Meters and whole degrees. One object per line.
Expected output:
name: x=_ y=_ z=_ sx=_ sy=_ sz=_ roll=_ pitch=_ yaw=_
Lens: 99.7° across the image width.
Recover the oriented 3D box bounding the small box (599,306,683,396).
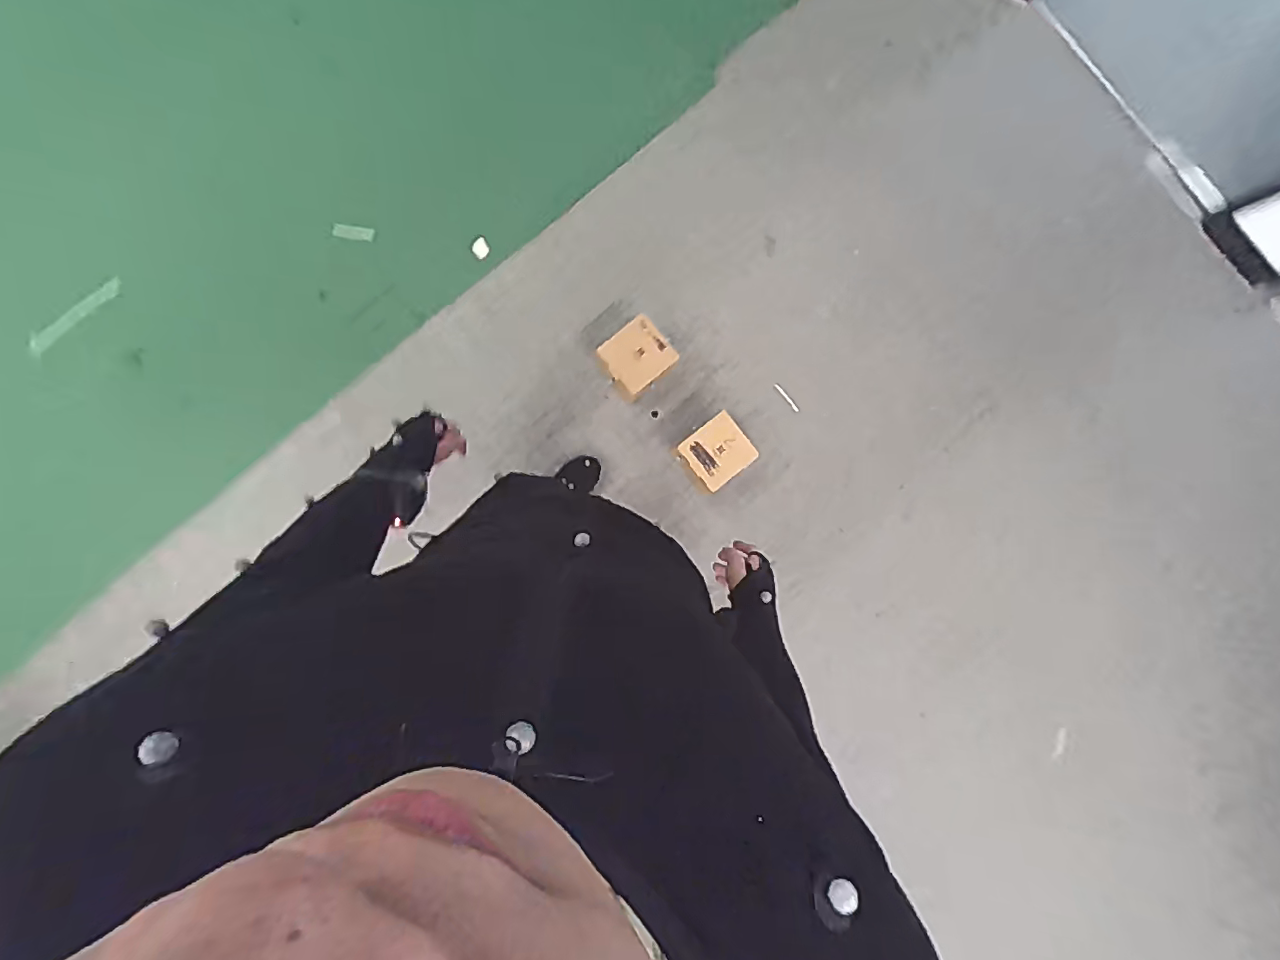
small box: x=0.002 y=-0.361 z=1.558 sx=0.179 sy=0.176 sz=0.168 roll=-39 pitch=92 yaw=-2

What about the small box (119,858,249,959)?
small box: x=-1.255 y=1.202 z=1.502 sx=0.168 sy=0.176 sz=0.179 roll=-41 pitch=93 yaw=-1

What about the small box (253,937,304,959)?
small box: x=-1.051 y=1.455 z=1.514 sx=0.168 sy=0.176 sz=0.179 roll=-42 pitch=92 yaw=-2
